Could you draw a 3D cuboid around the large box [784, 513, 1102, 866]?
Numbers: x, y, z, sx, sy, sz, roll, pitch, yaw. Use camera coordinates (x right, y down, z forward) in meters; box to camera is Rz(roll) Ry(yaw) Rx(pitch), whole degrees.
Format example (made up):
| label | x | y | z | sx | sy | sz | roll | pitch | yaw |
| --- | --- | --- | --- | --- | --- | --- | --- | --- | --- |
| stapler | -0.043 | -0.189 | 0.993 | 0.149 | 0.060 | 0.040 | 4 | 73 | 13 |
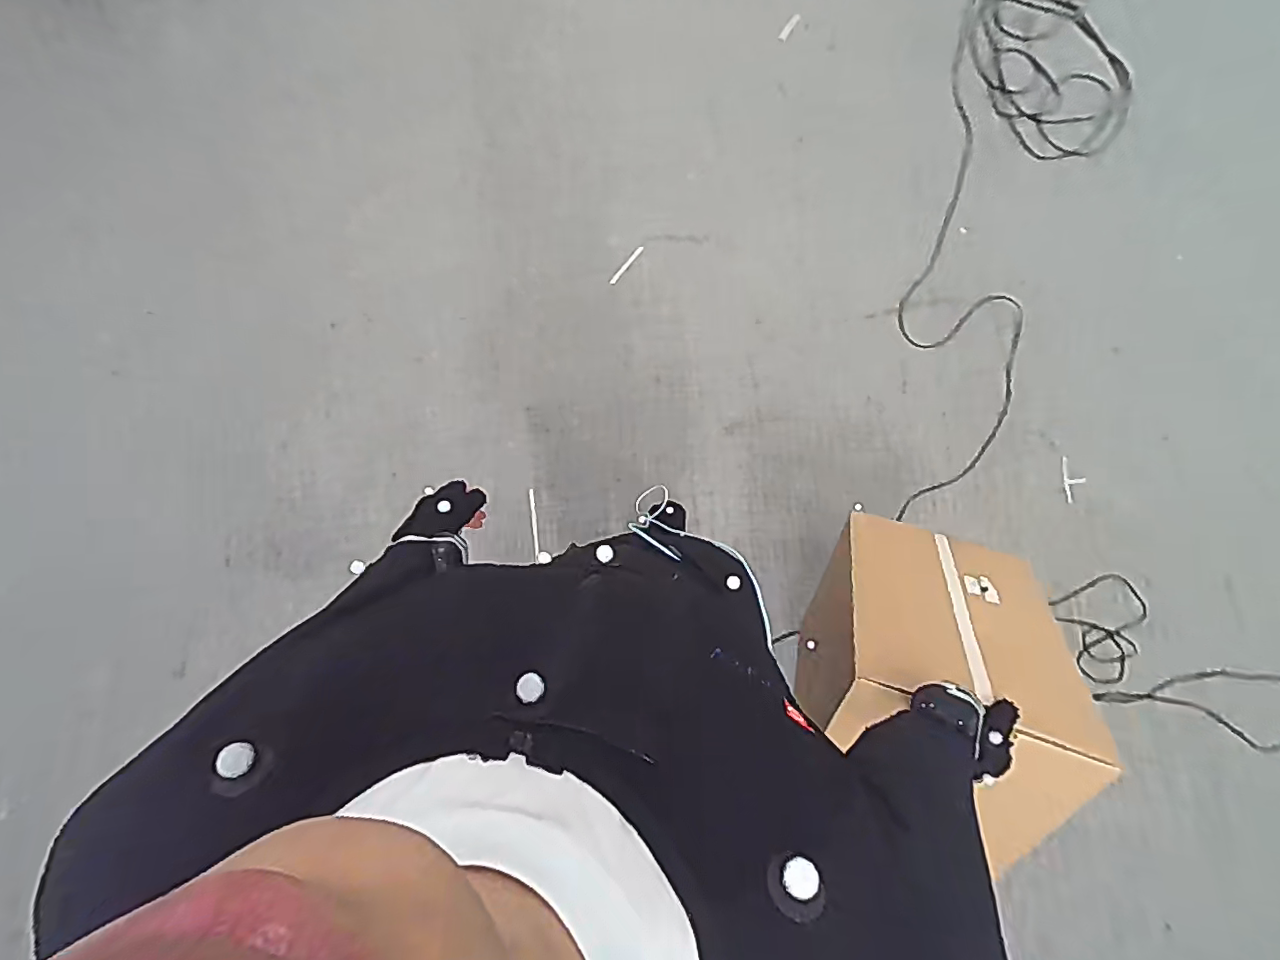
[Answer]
| label | x | y | z | sx | sy | sz | roll | pitch | yaw |
| --- | --- | --- | --- | --- | --- | --- | --- | --- | --- |
| large box | 0.450 | 0.324 | 0.916 | 0.320 | 0.408 | 0.320 | 19 | 123 | 9 |
